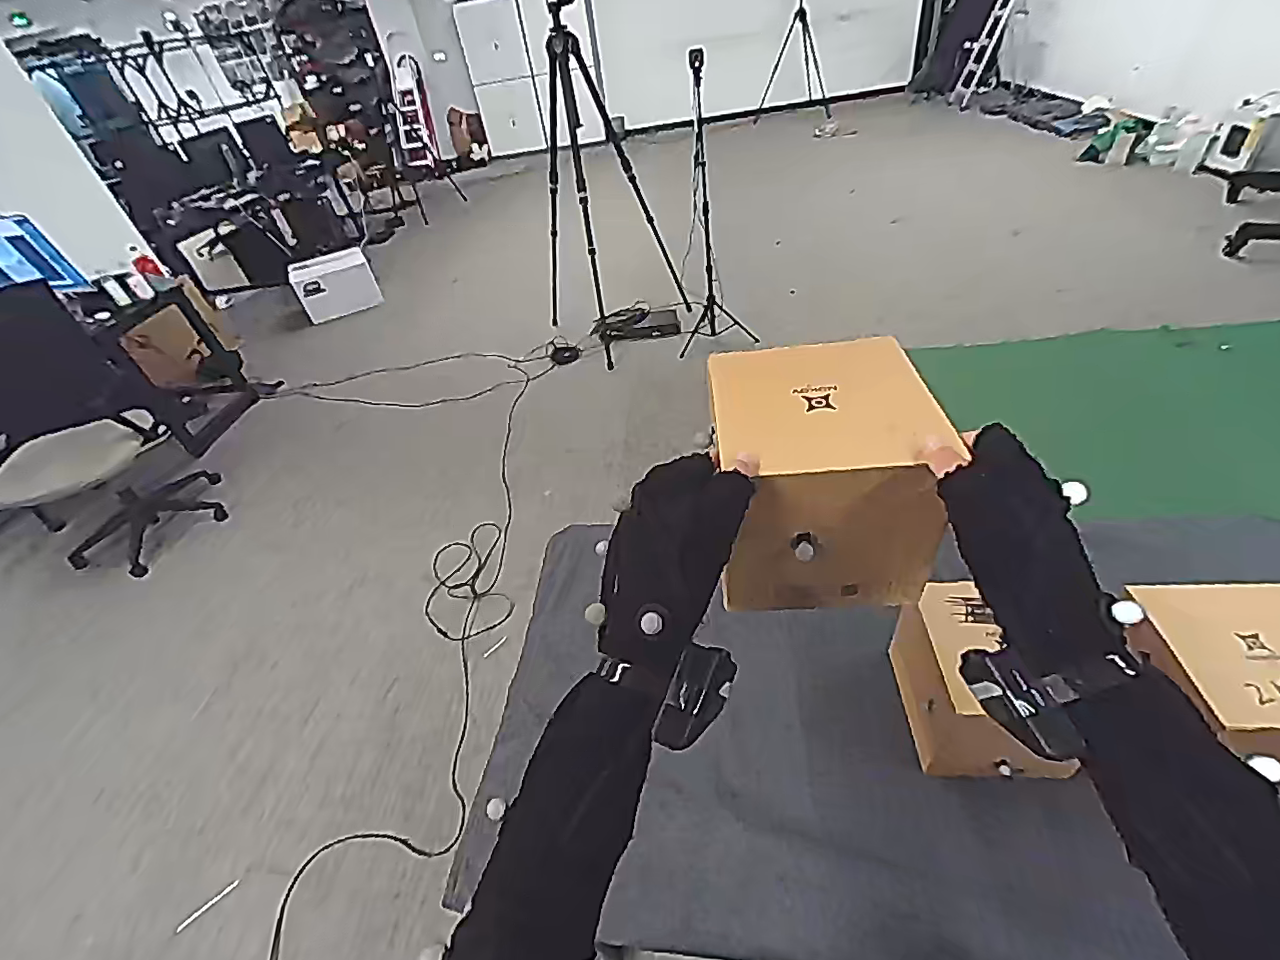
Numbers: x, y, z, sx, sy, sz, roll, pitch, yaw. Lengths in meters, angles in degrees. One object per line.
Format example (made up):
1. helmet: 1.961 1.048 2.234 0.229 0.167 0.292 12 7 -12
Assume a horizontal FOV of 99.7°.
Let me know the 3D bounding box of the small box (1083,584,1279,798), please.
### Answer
1. small box: 0.669 0.241 0.628 0.168 0.176 0.179 -3 41 11
